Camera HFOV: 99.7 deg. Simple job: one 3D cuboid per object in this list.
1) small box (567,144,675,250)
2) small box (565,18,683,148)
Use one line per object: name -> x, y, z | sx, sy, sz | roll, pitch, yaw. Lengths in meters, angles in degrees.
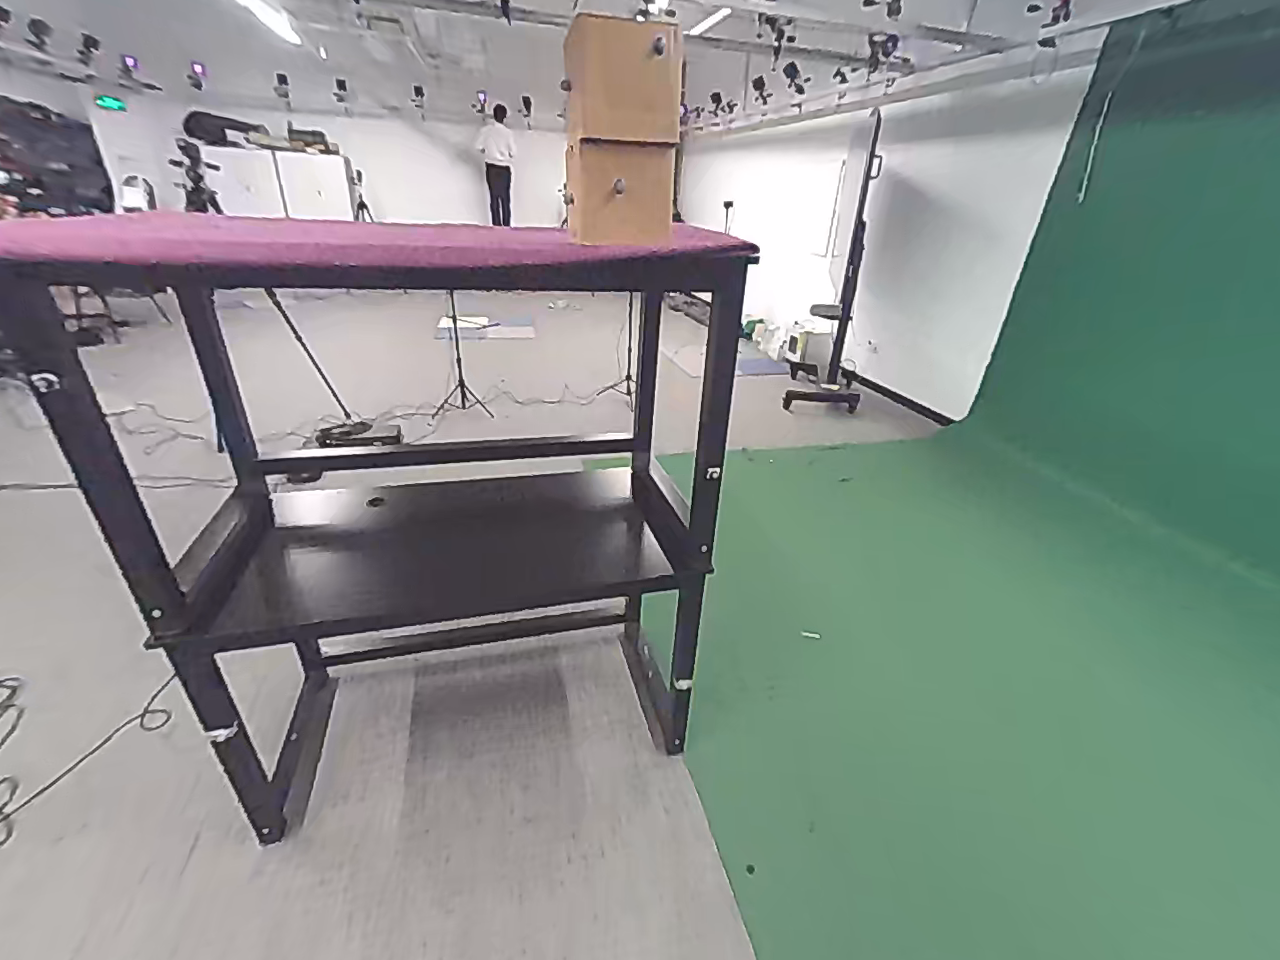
small box -> -0.039, -0.535, 1.037 | 0.179, 0.176, 0.168 | -6, 27, -13
small box -> -0.032, -0.676, 0.955 | 0.179, 0.176, 0.168 | -5, 26, -14
